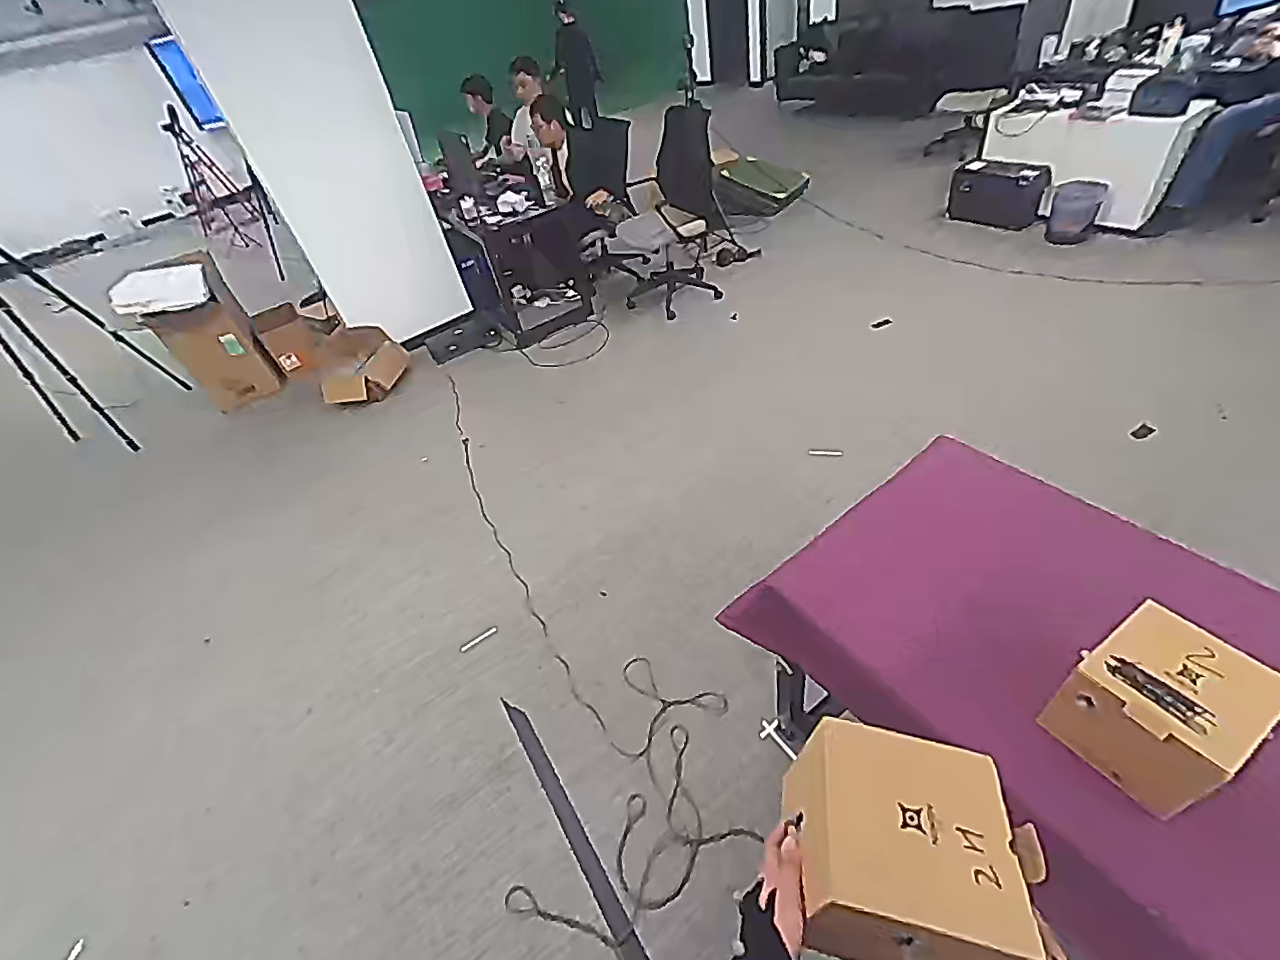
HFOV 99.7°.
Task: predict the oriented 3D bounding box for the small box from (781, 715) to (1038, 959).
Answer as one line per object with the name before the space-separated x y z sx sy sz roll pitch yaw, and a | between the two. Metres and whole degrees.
small box | 0.250 0.377 0.557 0.179 0.176 0.168 12 41 6
